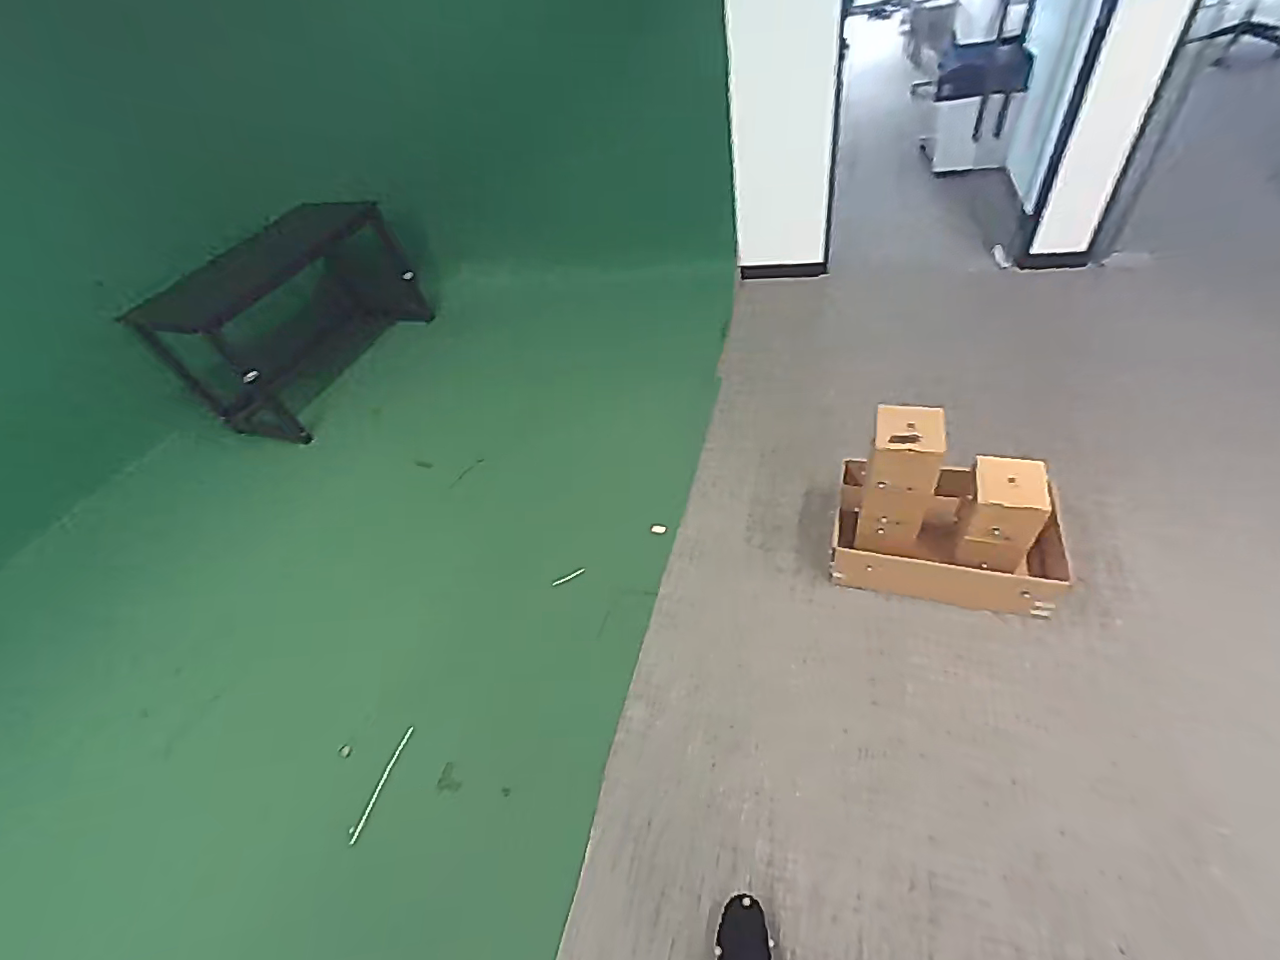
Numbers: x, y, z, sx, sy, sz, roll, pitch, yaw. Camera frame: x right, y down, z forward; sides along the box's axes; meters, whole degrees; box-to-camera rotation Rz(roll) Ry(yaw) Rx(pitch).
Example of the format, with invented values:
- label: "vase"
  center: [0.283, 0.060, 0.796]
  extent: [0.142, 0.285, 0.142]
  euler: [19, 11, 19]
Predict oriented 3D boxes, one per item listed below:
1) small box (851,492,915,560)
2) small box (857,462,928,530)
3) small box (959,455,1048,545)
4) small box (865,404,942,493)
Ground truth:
- label: "small box"
  center: [0.777, 0.127, 1.729]
  extent: [0.168, 0.176, 0.179]
  euler: [8, 50, 20]
- label: "small box"
  center: [0.750, 0.021, 1.609]
  extent: [0.168, 0.176, 0.179]
  euler: [8, 51, 20]
- label: "small box"
  center: [1.009, 0.056, 1.518]
  extent: [0.168, 0.176, 0.179]
  euler: [8, 52, 20]
- label: "small box"
  center: [0.721, -0.085, 1.487]
  extent: [0.168, 0.176, 0.179]
  euler: [7, 50, 18]
